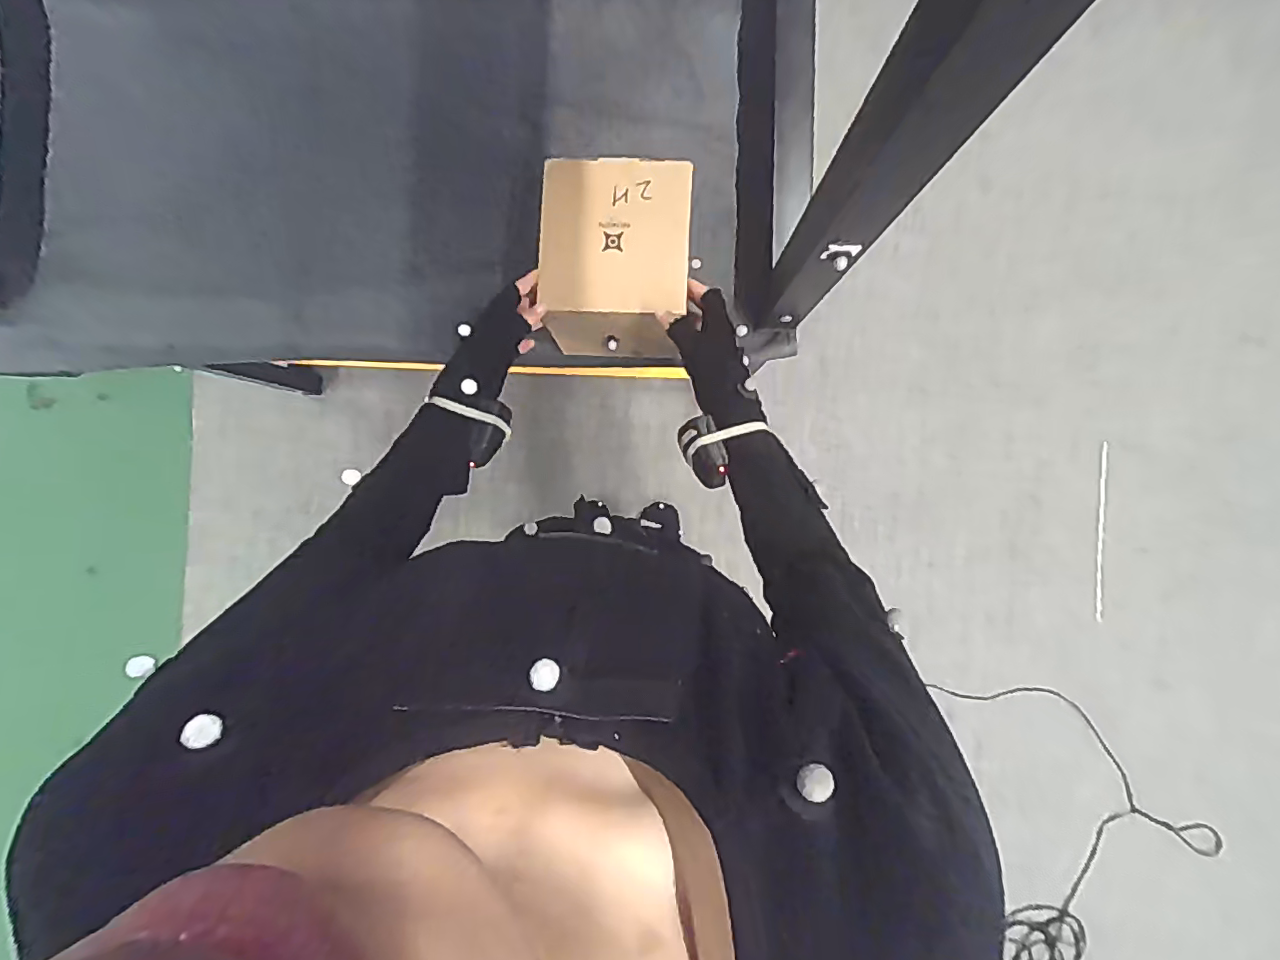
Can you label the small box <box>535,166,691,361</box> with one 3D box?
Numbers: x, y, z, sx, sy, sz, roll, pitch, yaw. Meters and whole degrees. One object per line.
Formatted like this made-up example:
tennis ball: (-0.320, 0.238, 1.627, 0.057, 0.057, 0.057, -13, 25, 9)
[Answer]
small box: (-0.026, -0.256, 0.674, 0.168, 0.176, 0.179, 3, 86, 2)
